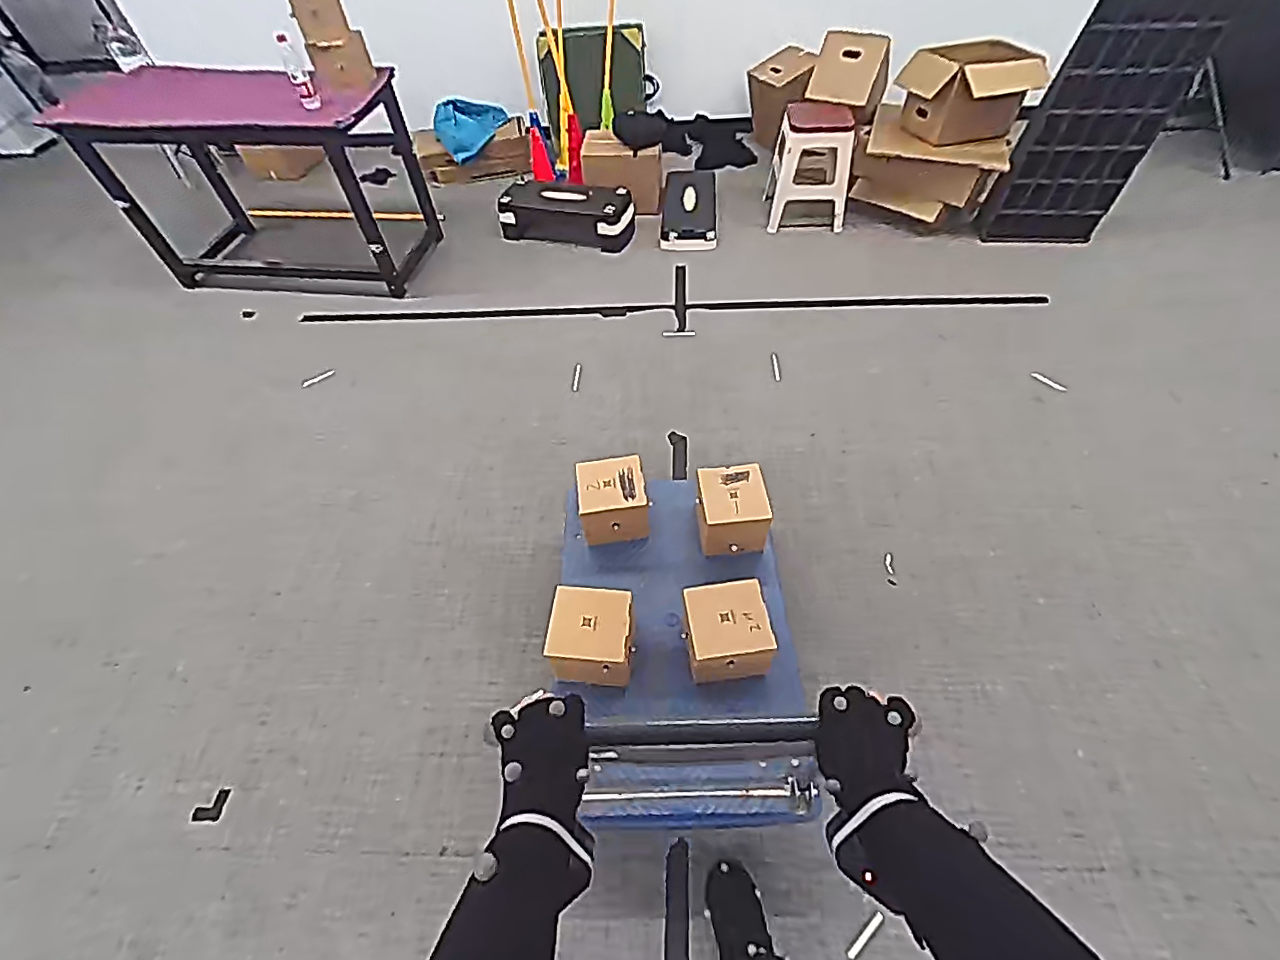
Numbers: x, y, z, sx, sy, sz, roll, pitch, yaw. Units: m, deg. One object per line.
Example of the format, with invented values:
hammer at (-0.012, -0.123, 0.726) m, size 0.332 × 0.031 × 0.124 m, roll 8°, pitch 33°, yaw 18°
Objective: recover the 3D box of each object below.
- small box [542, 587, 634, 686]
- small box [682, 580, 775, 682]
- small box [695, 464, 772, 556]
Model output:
small box at (-0.111, 0.363, 1.243) m, size 0.179 × 0.176 × 0.168 m, roll 4°, pitch 52°, yaw 4°
small box at (0.194, 0.349, 1.236) m, size 0.179 × 0.176 × 0.168 m, roll -7°, pitch 53°, yaw -2°
small box at (0.239, 0.081, 1.436) m, size 0.168 × 0.176 × 0.179 m, roll -6°, pitch 54°, yaw -1°
